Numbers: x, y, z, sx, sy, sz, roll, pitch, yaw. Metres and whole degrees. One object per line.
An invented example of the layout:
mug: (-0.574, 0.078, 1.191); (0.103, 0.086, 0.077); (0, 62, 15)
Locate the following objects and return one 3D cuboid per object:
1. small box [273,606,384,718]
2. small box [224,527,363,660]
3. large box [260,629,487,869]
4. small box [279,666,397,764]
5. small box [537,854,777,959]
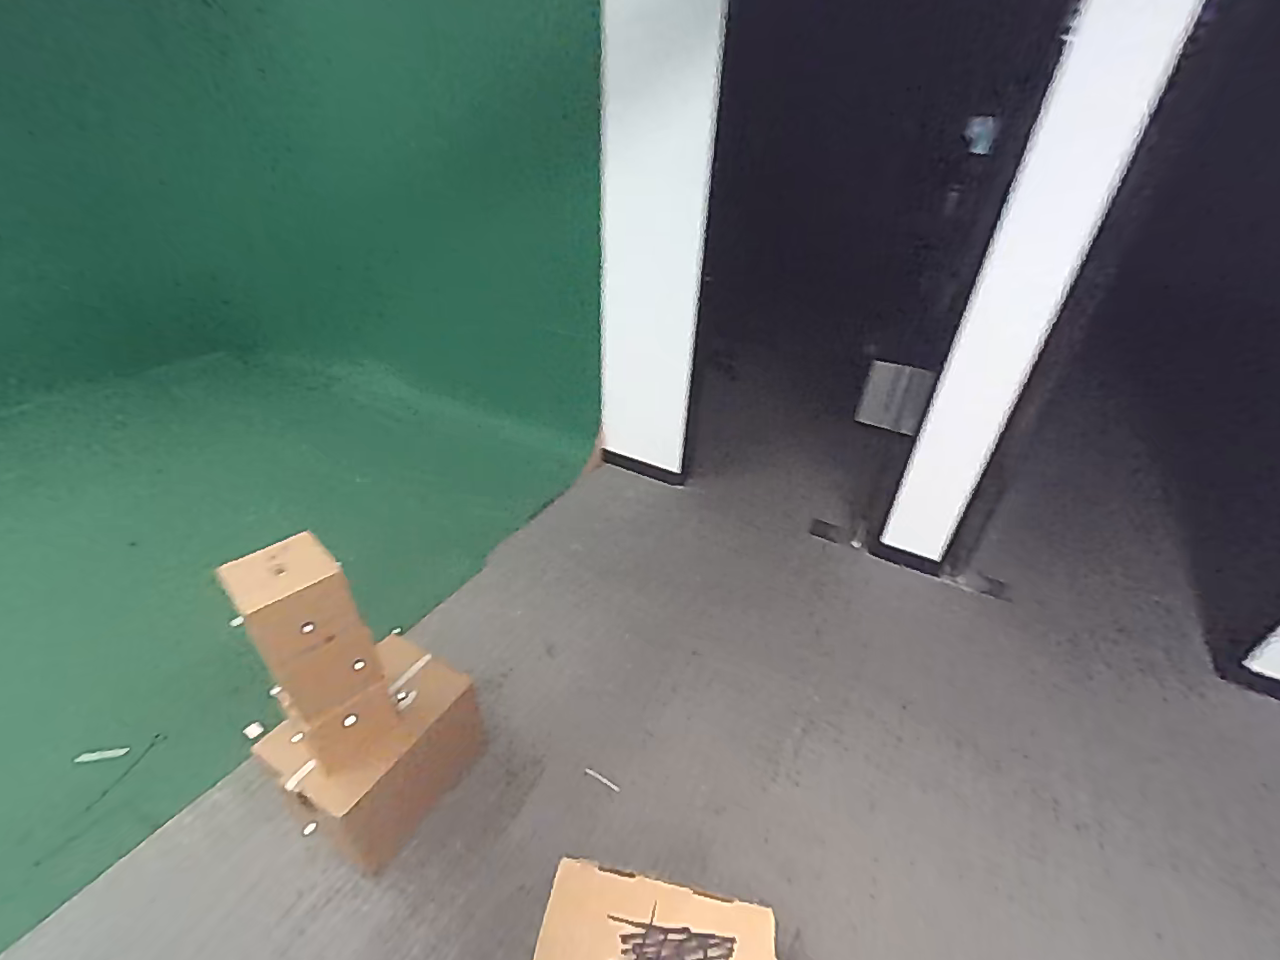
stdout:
small box: (-0.680, 0.367, 1.170); (0.168, 0.176, 0.179); (29, 43, 34)
small box: (-0.683, 0.229, 1.079); (0.179, 0.176, 0.168); (29, 42, 35)
large box: (-0.667, 0.686, 1.423); (0.320, 0.320, 0.408); (19, 36, 22)
small box: (-0.687, 0.507, 1.252); (0.168, 0.176, 0.179); (27, 41, 31)
small box: (0.002, 0.416, 0.398); (0.168, 0.176, 0.179); (8, 43, 8)
